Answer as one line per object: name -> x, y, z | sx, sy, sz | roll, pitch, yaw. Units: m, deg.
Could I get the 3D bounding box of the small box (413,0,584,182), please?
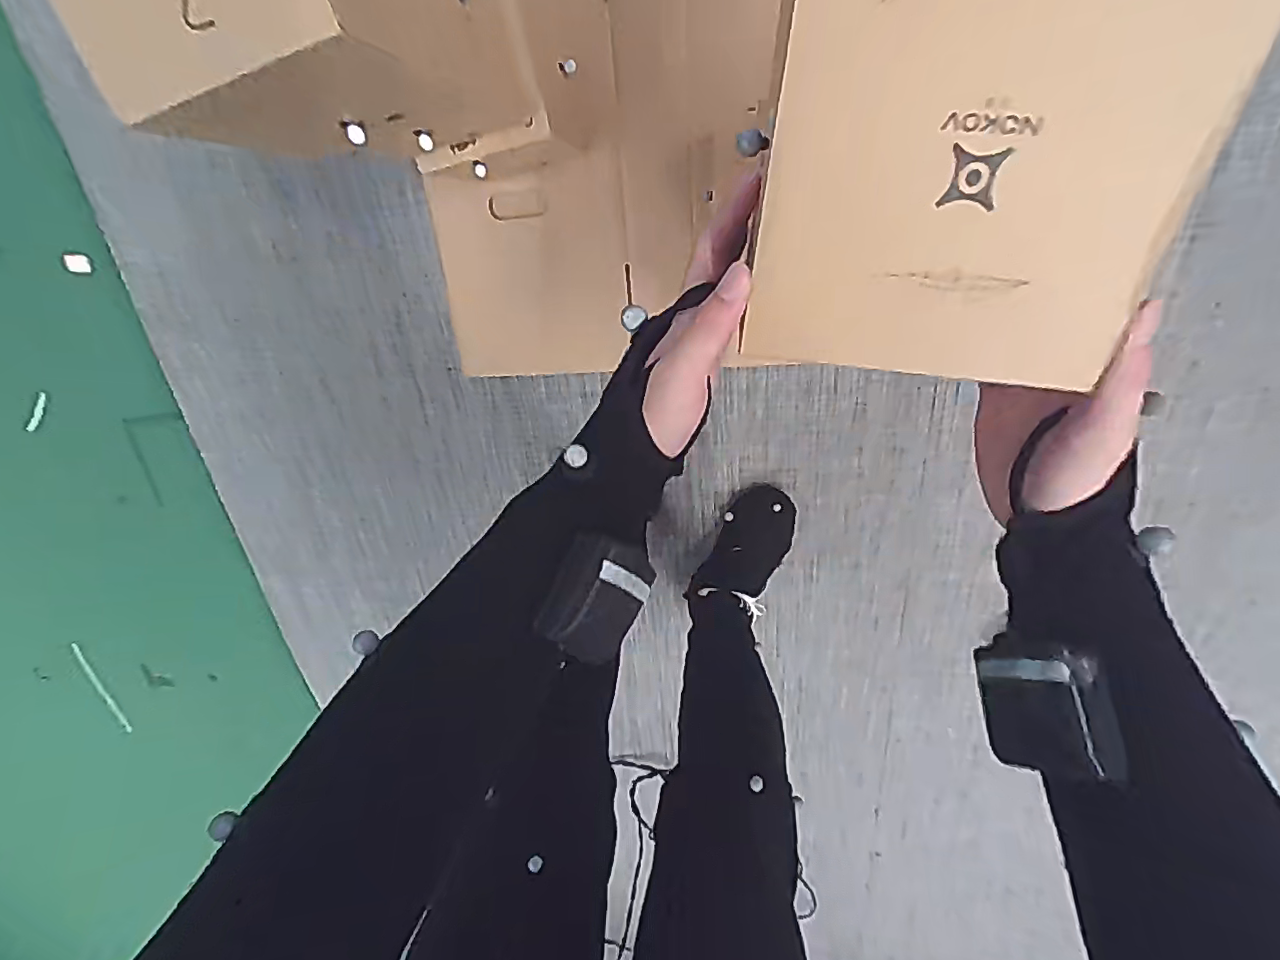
small box -> -0.179, -0.475, 0.642 | 0.168, 0.176, 0.179 | -8, 113, 13

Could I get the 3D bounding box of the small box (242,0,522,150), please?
small box -> -0.226, -0.419, 0.493 | 0.168, 0.176, 0.179 | -7, 113, 12

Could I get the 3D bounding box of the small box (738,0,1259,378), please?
small box -> 0.146, -0.172, 0.294 | 0.168, 0.176, 0.179 | 8, 119, 7

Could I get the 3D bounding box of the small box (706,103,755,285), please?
small box -> 0.171, -0.333, 0.646 | 0.168, 0.176, 0.179 | 4, 115, 8
